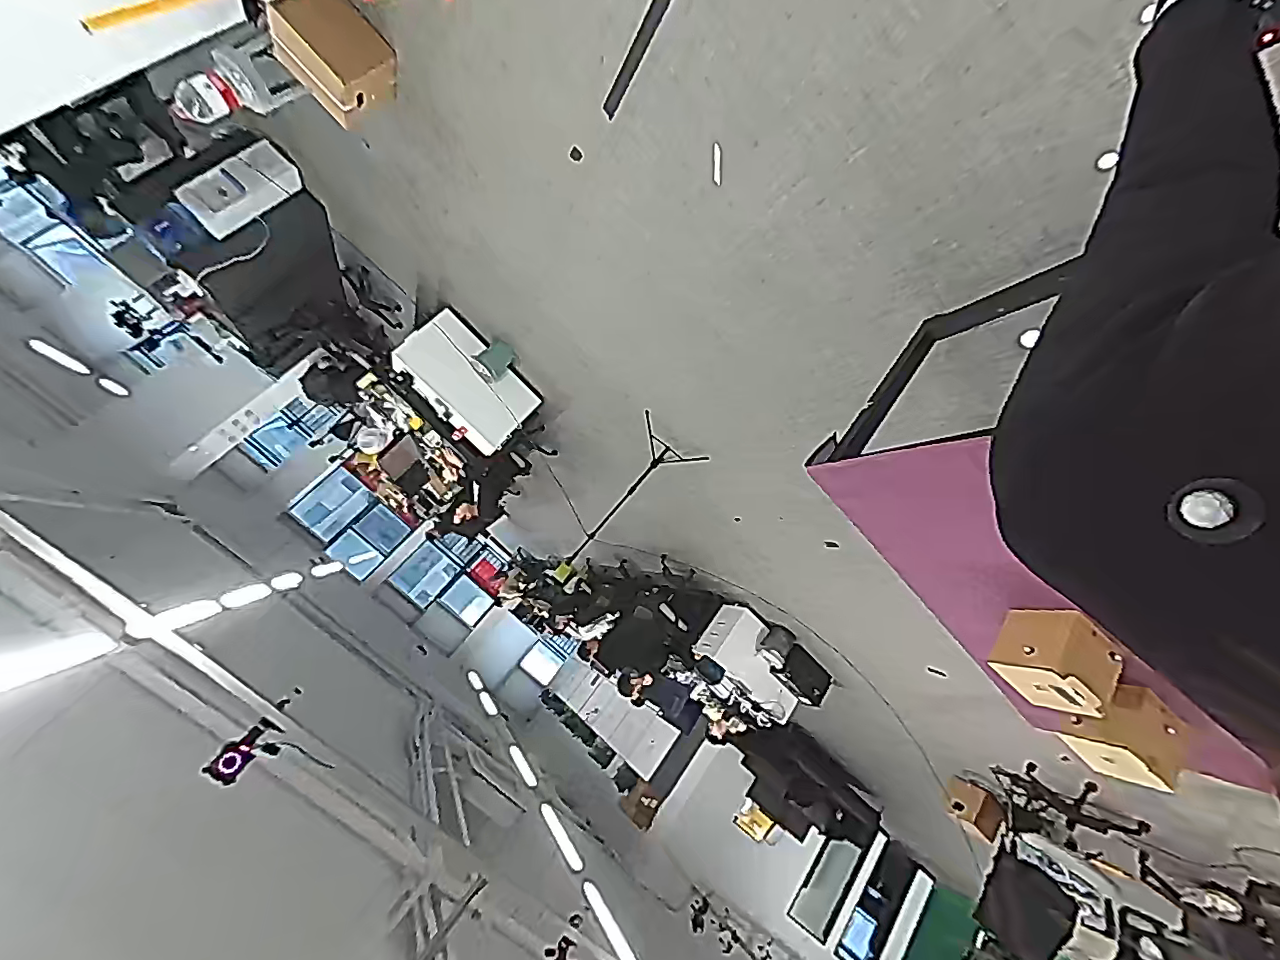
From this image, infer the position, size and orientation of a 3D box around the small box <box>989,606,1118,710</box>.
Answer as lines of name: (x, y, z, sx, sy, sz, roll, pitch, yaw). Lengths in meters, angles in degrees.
small box: (1.001, 0.420, 1.304, 0.168, 0.176, 0.179, 42, 160, -4)

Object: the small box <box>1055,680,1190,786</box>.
small box: (1.202, 0.614, 1.348, 0.168, 0.176, 0.179, 42, 159, -6)
